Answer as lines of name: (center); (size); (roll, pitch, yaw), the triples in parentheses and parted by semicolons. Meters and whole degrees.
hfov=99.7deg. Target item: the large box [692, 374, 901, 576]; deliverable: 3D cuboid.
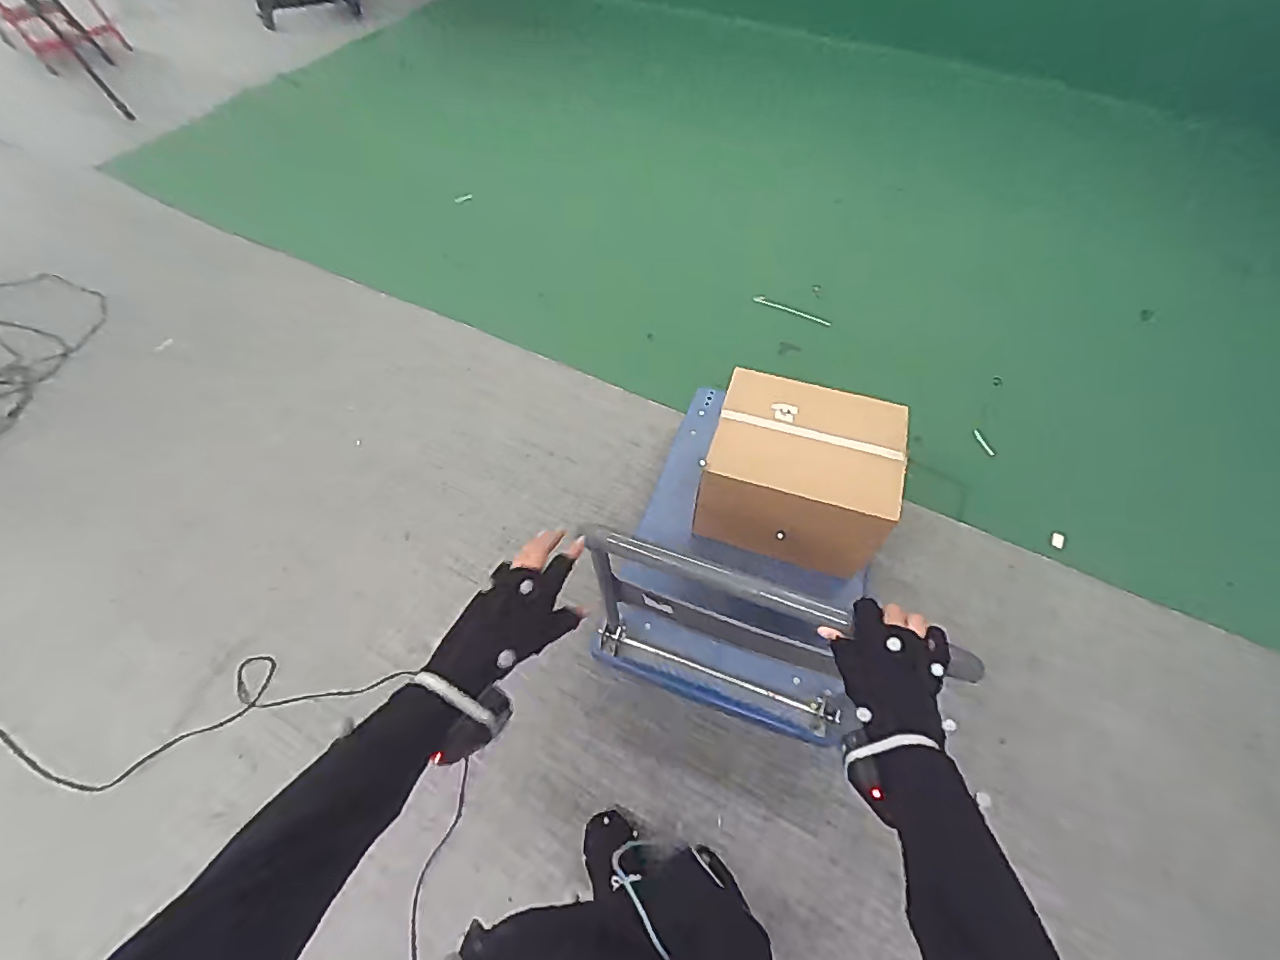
large box: (0.364, -0.006, 1.309); (0.408, 0.320, 0.320); (15, 58, 11)
